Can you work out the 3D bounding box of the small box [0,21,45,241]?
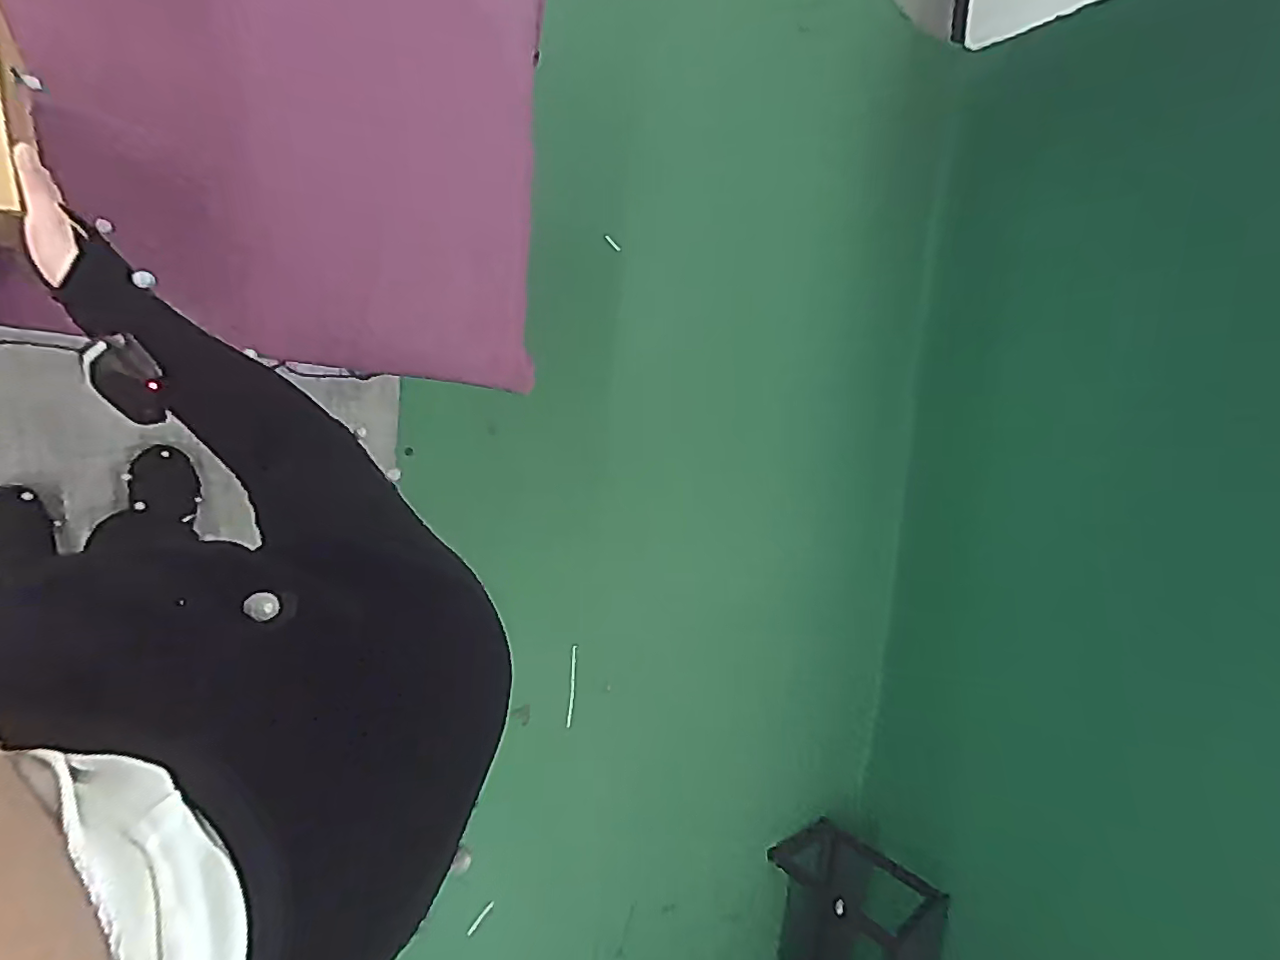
[{"bbox_3d":[-0.622,-0.313,0.434,0.168,0.176,0.179,-6,103,-39],"label":"small box"}]
